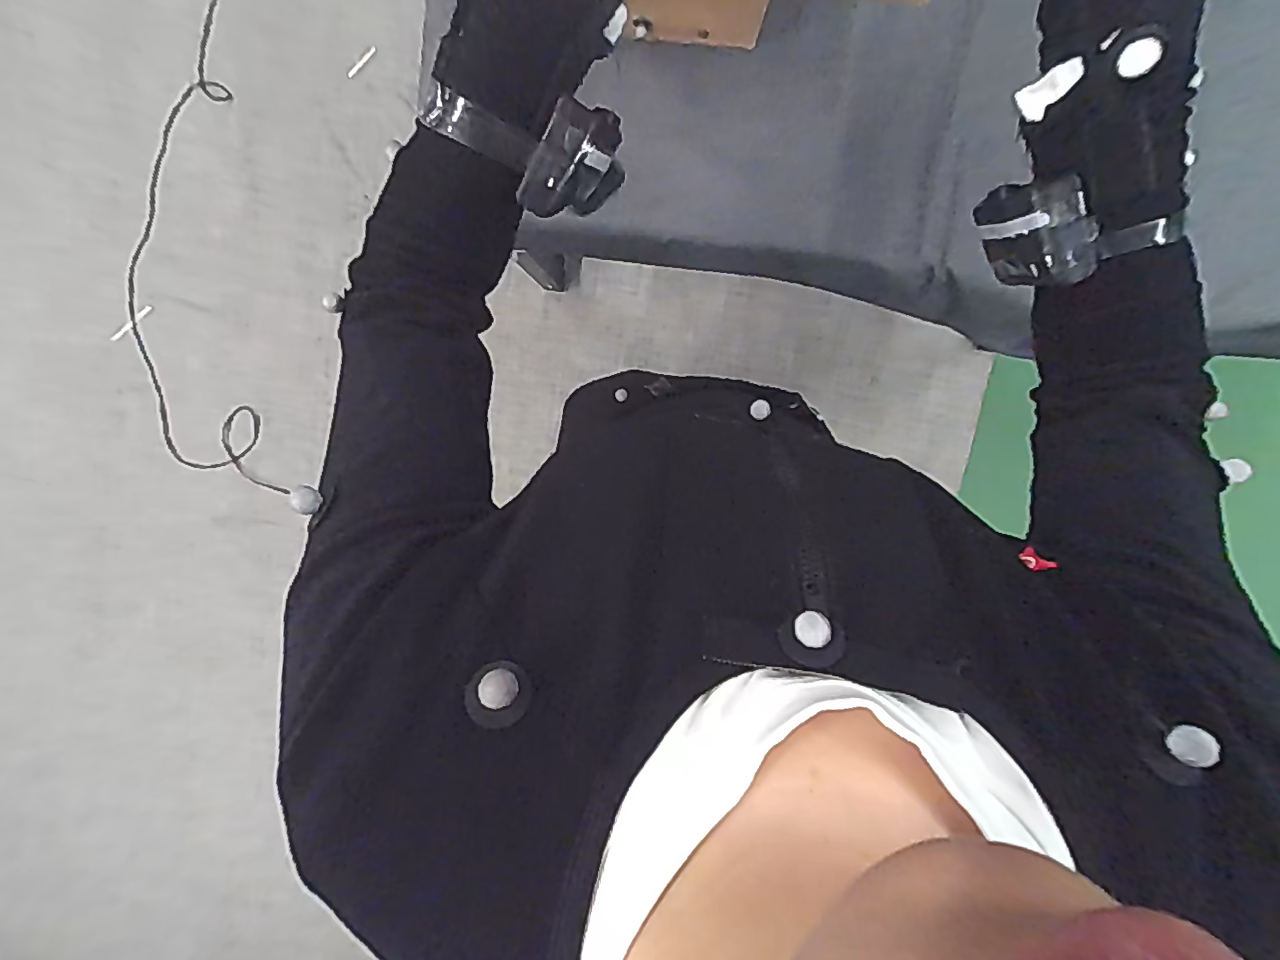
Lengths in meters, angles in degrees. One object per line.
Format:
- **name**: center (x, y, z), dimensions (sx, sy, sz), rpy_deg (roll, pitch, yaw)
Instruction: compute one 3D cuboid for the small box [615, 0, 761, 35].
- **small box**: center (0.057, -0.593, 0.539), dimensions (0.168, 0.176, 0.179), rpy_deg (5, 100, -1)
